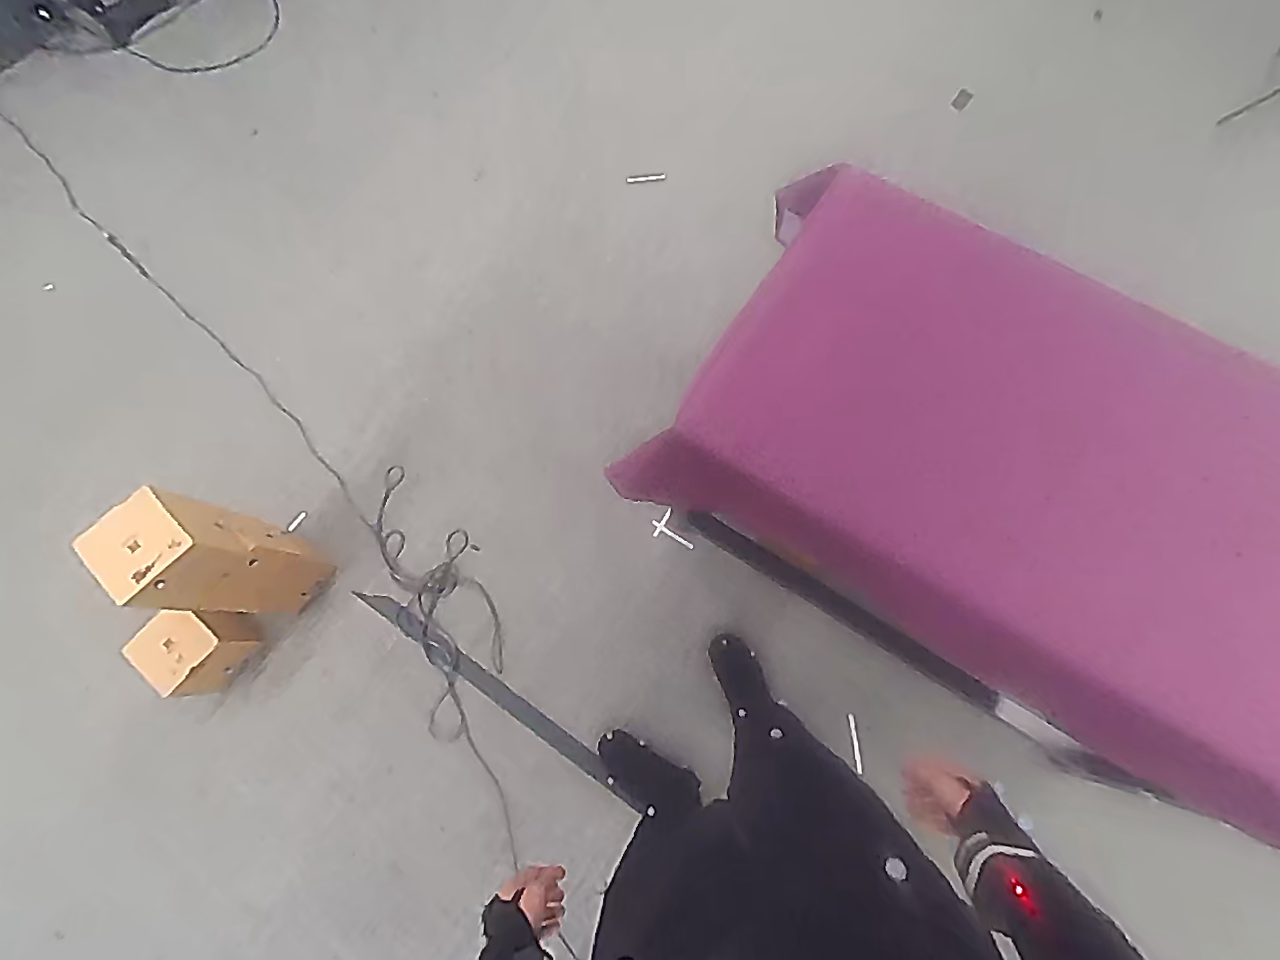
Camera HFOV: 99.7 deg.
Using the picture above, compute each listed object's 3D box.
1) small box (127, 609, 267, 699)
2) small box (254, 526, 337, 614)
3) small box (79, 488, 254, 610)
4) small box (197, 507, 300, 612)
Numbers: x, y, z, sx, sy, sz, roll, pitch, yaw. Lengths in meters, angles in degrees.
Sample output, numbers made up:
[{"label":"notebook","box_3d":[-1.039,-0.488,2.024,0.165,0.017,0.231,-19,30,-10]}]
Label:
[{"label":"small box","box_3d":[-1.106,0.423,1.364,0.179,0.176,0.168,38,78,11]},{"label":"small box","box_3d":[-0.950,0.240,1.419,0.179,0.176,0.168,33,77,9]},{"label":"small box","box_3d":[-0.954,0.150,1.105,0.179,0.176,0.168,41,78,13]},{"label":"small box","box_3d":[-0.951,0.194,1.263,0.168,0.176,0.179,34,77,10]}]
